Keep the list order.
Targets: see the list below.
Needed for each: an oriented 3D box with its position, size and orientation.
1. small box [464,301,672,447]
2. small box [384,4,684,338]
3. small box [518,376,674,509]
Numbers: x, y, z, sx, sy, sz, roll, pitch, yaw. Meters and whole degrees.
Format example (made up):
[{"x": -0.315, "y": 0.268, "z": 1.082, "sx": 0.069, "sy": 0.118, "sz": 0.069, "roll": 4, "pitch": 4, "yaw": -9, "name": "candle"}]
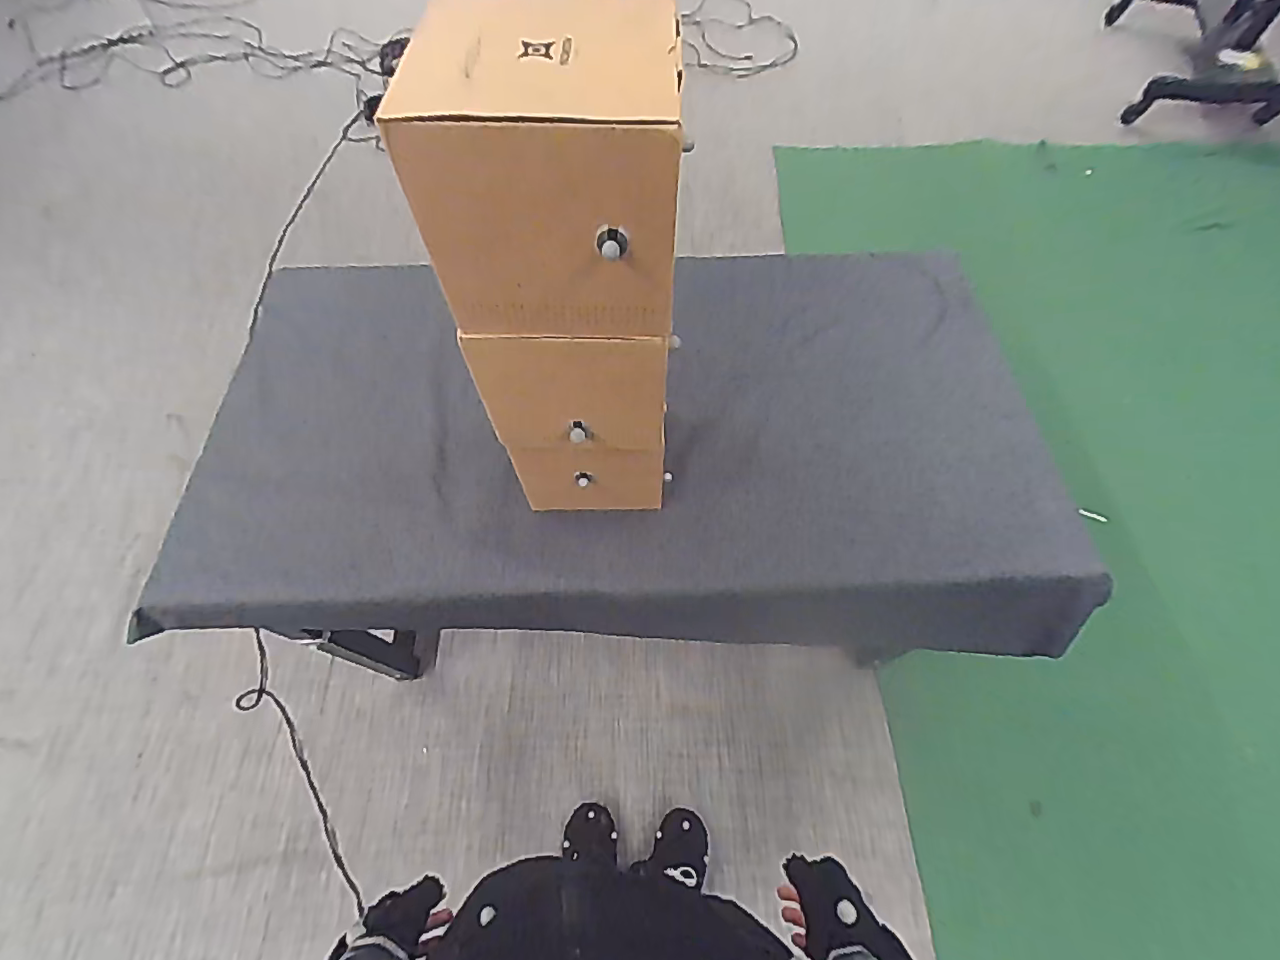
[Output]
[{"x": -0.060, "y": -0.145, "z": 0.559, "sx": 0.179, "sy": 0.176, "sz": 0.168, "roll": 0, "pitch": 61, "yaw": 1, "name": "small box"}, {"x": -0.060, "y": -0.226, "z": 0.418, "sx": 0.179, "sy": 0.176, "sz": 0.168, "roll": -1, "pitch": 60, "yaw": 1, "name": "small box"}, {"x": -0.055, "y": -0.071, "z": 0.705, "sx": 0.179, "sy": 0.176, "sz": 0.168, "roll": -4, "pitch": 62, "yaw": -2, "name": "small box"}]
